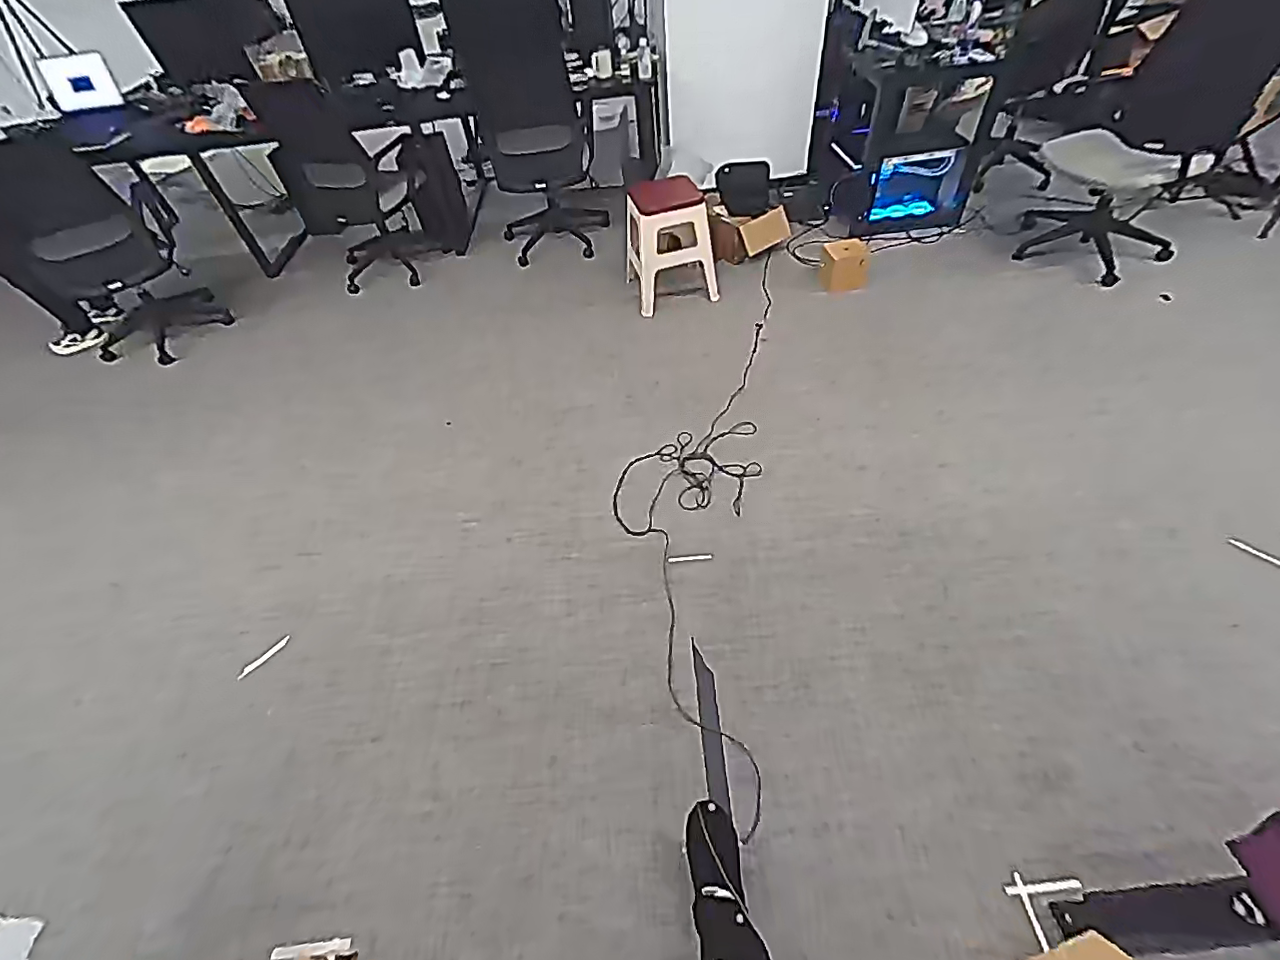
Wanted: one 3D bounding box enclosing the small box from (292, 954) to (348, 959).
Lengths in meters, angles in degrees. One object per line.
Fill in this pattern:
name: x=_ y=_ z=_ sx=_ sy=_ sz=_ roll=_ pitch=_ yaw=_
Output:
small box: x=-0.365 y=0.673 z=0.583 sx=0.168 sy=0.176 sz=0.179 roll=-19 pitch=7 yaw=24
